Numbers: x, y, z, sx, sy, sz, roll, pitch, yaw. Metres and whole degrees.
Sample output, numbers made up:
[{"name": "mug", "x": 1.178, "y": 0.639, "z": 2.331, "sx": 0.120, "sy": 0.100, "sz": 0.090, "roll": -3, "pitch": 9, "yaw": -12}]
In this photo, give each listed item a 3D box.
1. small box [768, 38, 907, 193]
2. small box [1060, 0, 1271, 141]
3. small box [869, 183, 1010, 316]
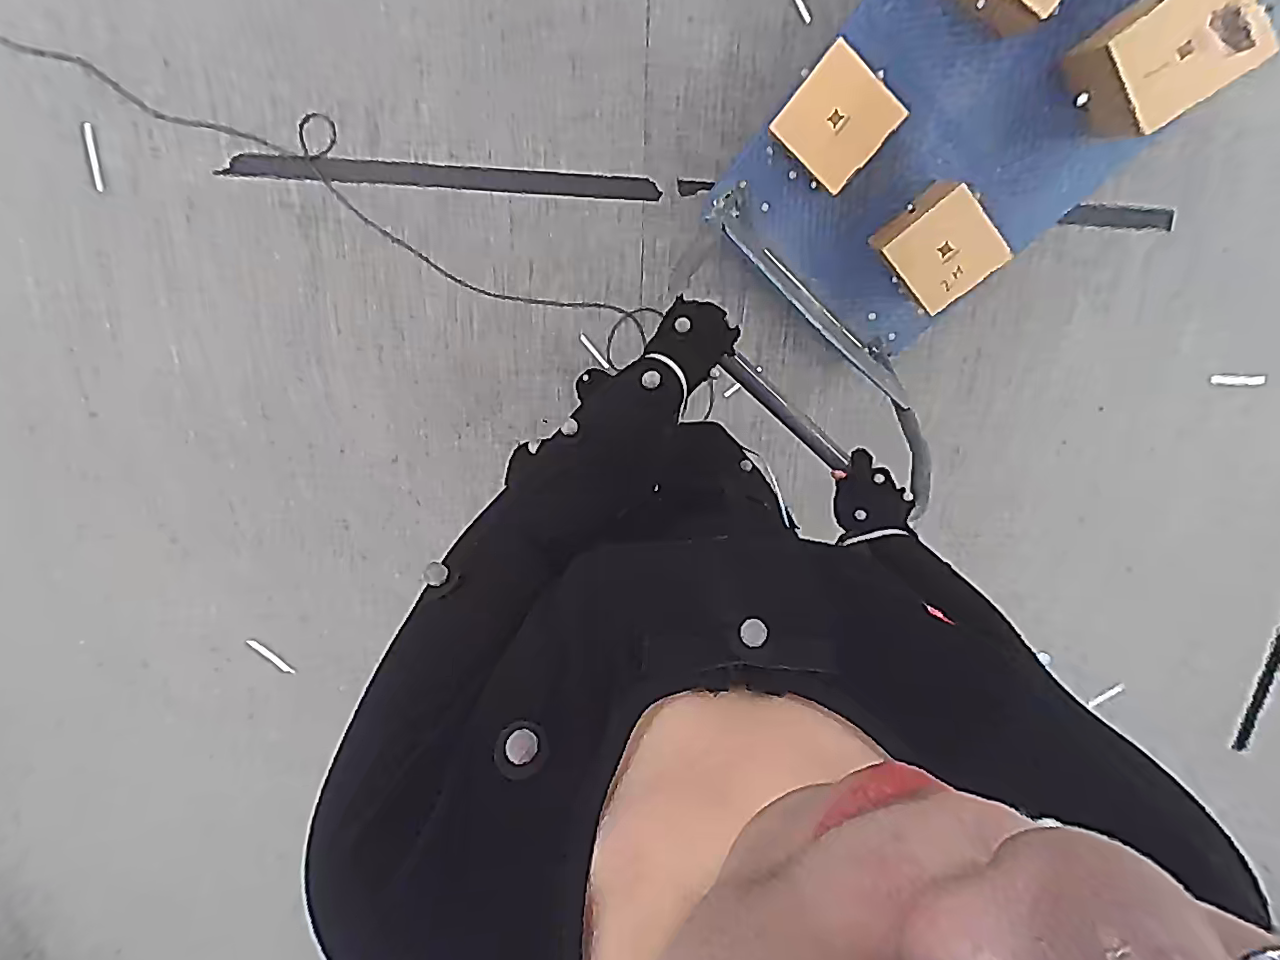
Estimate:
[{"name": "small box", "x": 0.359, "y": -0.673, "z": 1.022, "sx": 0.179, "sy": 0.176, "sz": 0.168, "roll": 38, "pitch": 120, "yaw": -13}, {"name": "small box", "x": 0.858, "y": -0.701, "z": 0.900, "sx": 0.179, "sy": 0.176, "sz": 0.168, "roll": -31, "pitch": 109, "yaw": 26}, {"name": "small box", "x": 0.591, "y": -0.466, "z": 1.092, "sx": 0.168, "sy": 0.176, "sz": 0.179, "roll": -37, "pitch": 106, "yaw": 28}]
